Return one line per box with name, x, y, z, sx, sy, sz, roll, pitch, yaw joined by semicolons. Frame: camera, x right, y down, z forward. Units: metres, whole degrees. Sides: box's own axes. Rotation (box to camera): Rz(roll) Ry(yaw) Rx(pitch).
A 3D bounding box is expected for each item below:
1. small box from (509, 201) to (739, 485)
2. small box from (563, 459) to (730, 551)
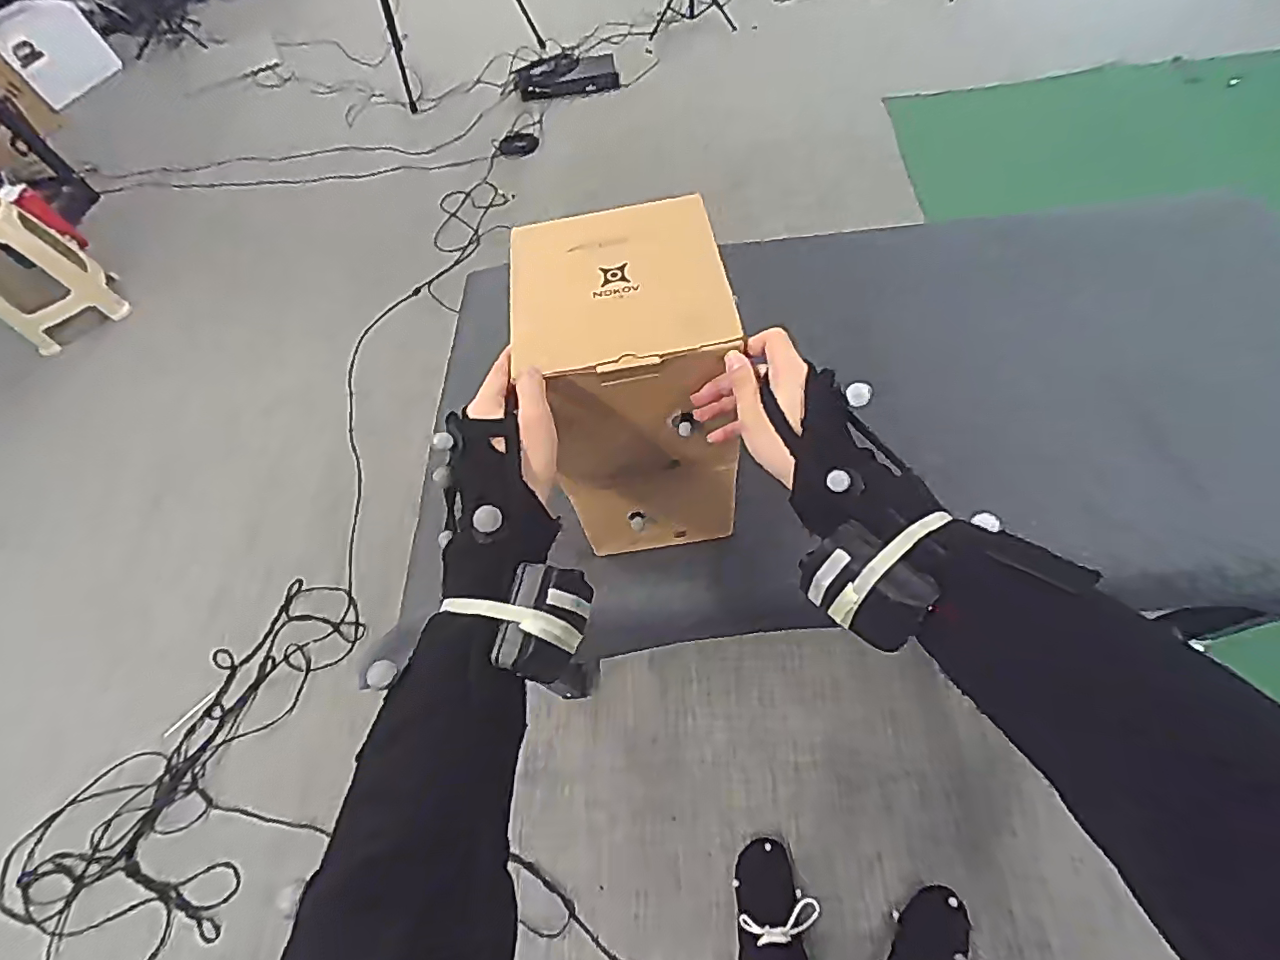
small box;-0.011;-0.109;0.482;0.168;0.176;0.179;-9;58;1
small box;0.008;-0.029;0.622;0.168;0.176;0.179;-9;59;2
